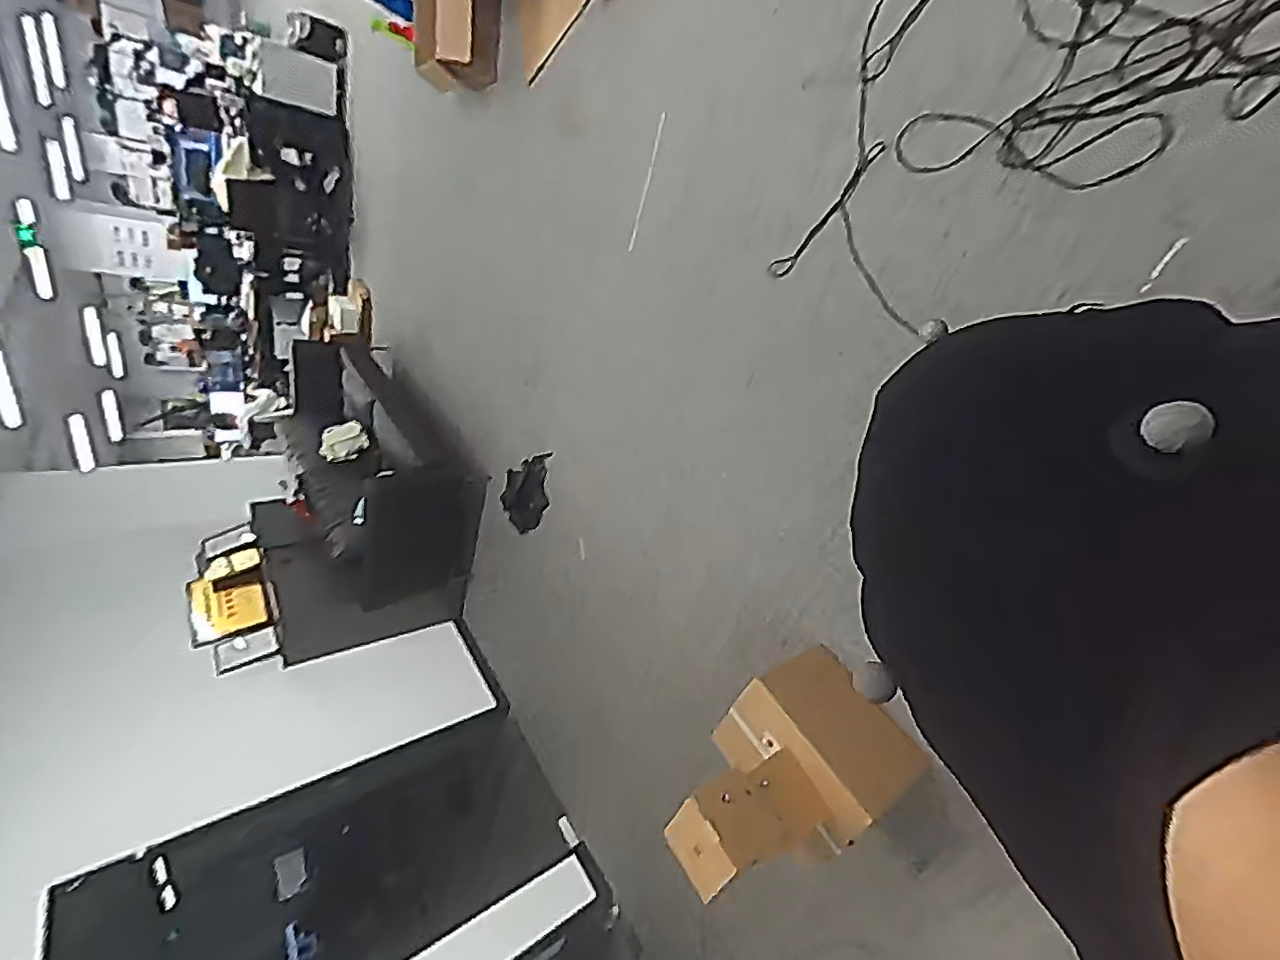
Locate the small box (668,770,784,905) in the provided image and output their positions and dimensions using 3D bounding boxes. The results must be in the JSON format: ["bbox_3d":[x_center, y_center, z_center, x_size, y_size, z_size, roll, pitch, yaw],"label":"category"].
[{"bbox_3d":[0.197,0.800,1.226,0.168,0.176,0.179,48,131,37],"label":"small box"}]

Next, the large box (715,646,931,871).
[{"bbox_3d":[0.492,0.746,1.499,0.408,0.320,0.320,49,130,35],"label":"large box"}]

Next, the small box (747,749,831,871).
[{"bbox_3d":[0.329,0.800,1.322,0.179,0.176,0.168,54,134,31],"label":"small box"}]
